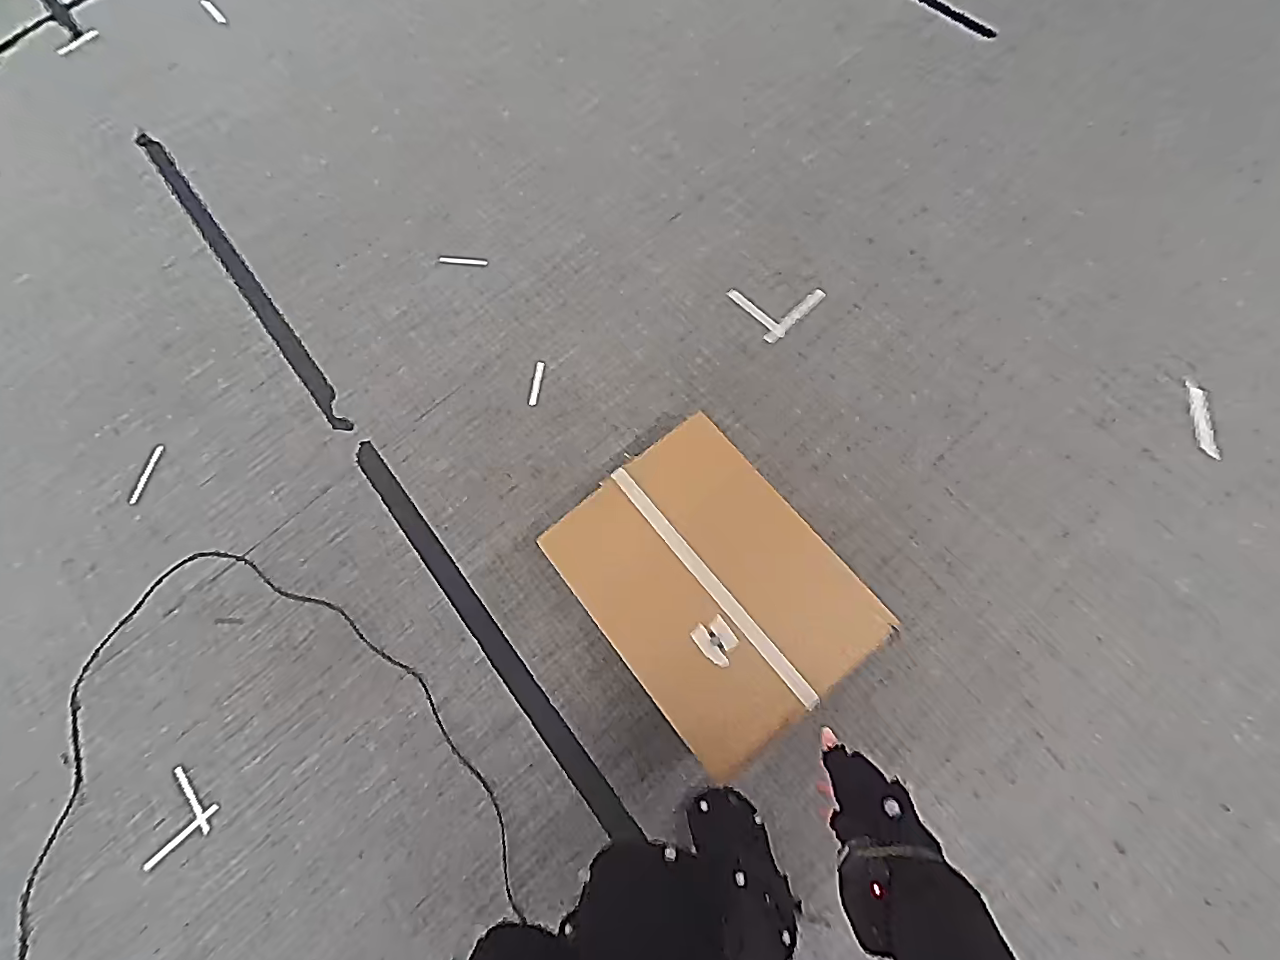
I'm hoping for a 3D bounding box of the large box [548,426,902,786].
[{"bbox_3d":[0.118,0.193,0.888,0.320,0.320,0.408,-39,73,-6],"label":"large box"}]
